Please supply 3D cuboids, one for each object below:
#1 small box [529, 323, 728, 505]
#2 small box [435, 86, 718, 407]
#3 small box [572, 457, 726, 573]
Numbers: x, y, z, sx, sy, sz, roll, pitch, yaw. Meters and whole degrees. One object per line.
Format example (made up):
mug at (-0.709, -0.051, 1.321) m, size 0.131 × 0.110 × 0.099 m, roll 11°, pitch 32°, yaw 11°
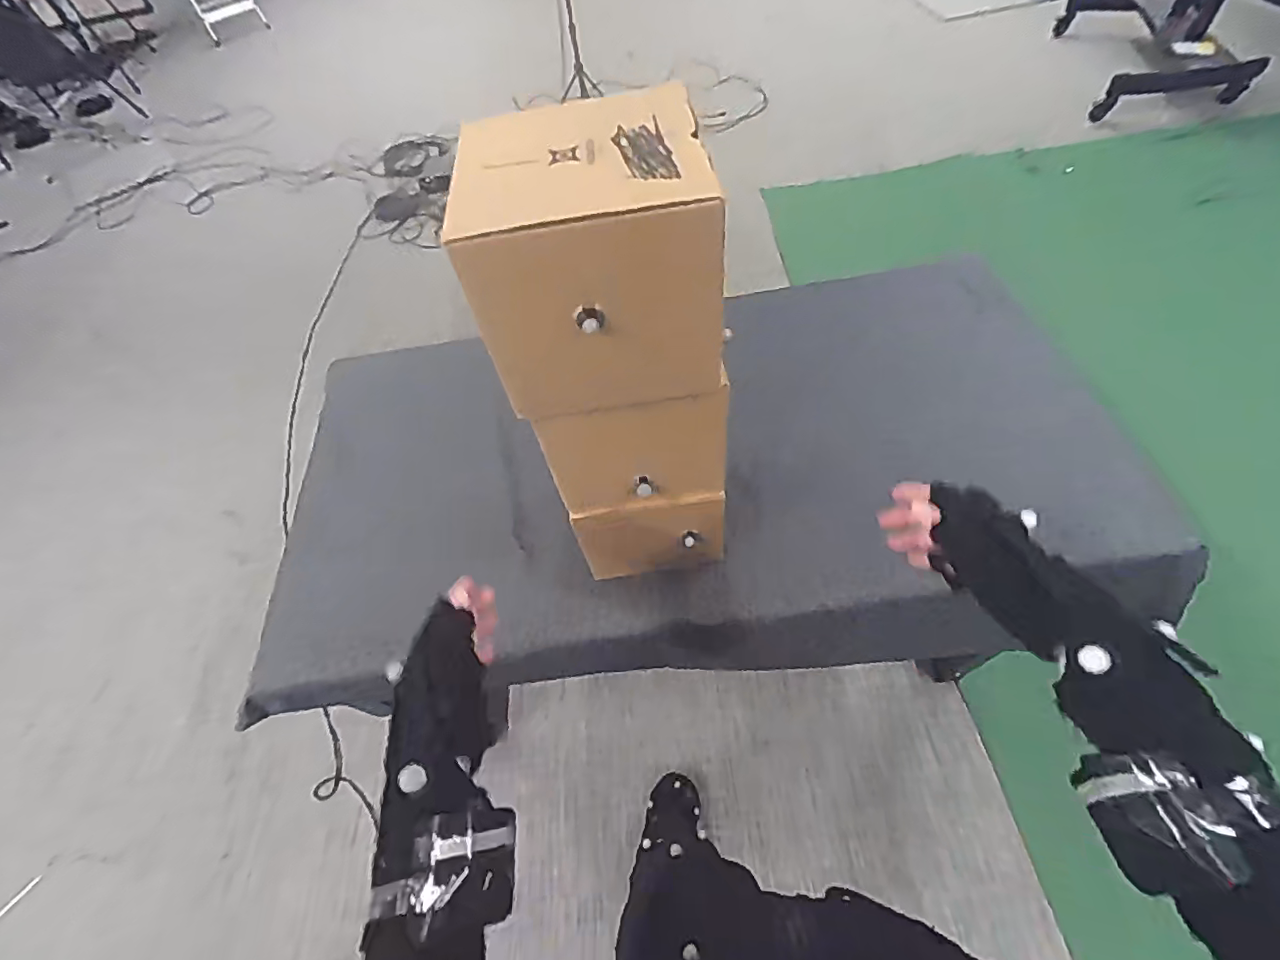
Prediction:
small box at (-0.011, -0.091, 0.576) m, size 0.179 × 0.176 × 0.168 m, roll -8°, pitch 55°, yaw 1°
small box at (-0.036, -0.179, 0.437) m, size 0.179 × 0.176 × 0.168 m, roll -6°, pitch 54°, yaw 4°
small box at (0.011, 0.005, 0.708) m, size 0.179 × 0.176 × 0.168 m, roll -11°, pitch 55°, yaw 2°
